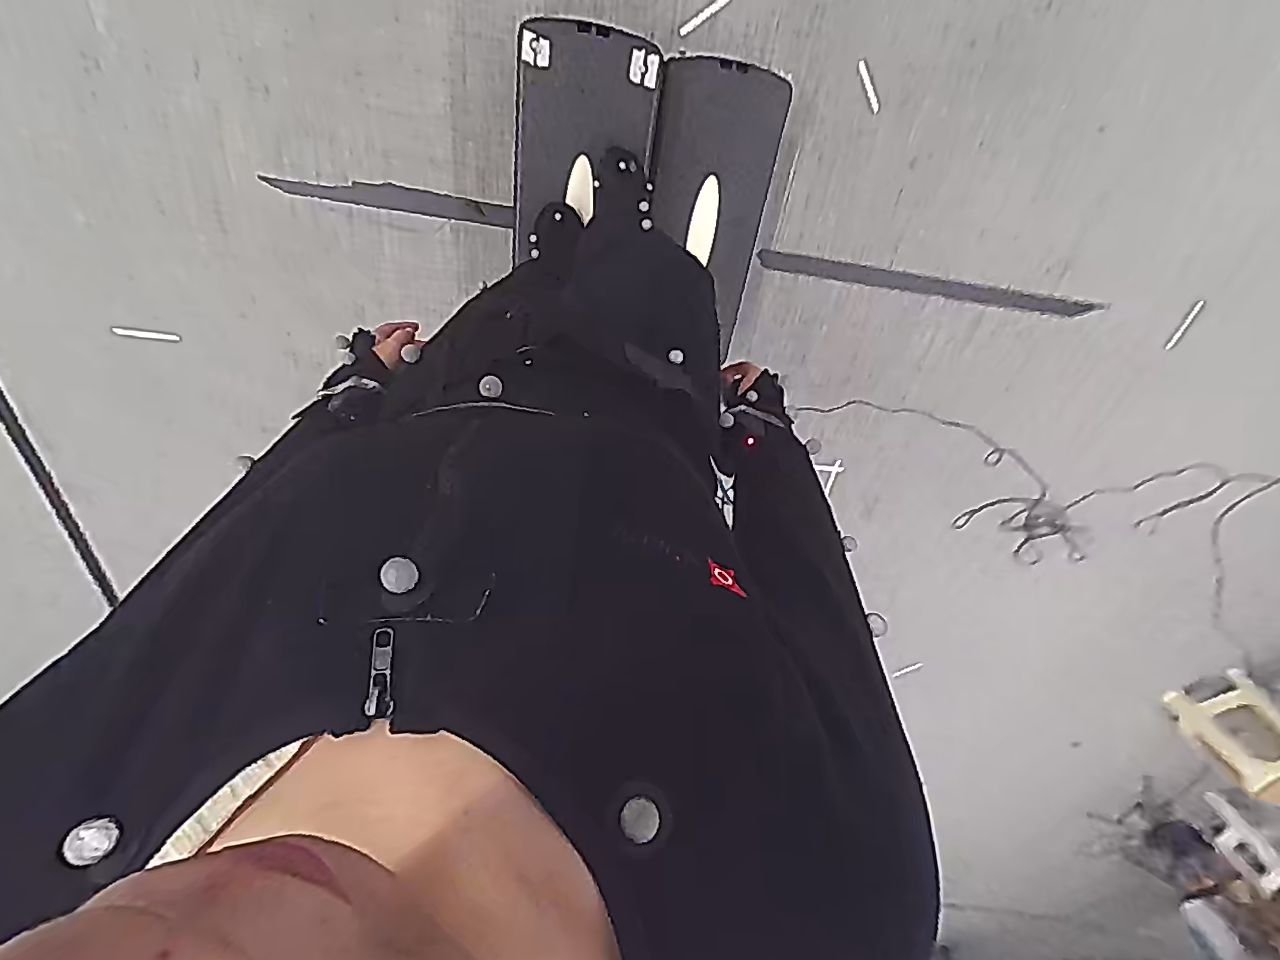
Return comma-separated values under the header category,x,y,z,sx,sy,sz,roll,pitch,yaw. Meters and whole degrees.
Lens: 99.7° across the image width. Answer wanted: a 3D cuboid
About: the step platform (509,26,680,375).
category,x,y,z,sx,sy,sz,roll,pitch,yaw
step platform,-0.124,-0.586,1.233,0.286,0.204,0.684,9,120,-10
